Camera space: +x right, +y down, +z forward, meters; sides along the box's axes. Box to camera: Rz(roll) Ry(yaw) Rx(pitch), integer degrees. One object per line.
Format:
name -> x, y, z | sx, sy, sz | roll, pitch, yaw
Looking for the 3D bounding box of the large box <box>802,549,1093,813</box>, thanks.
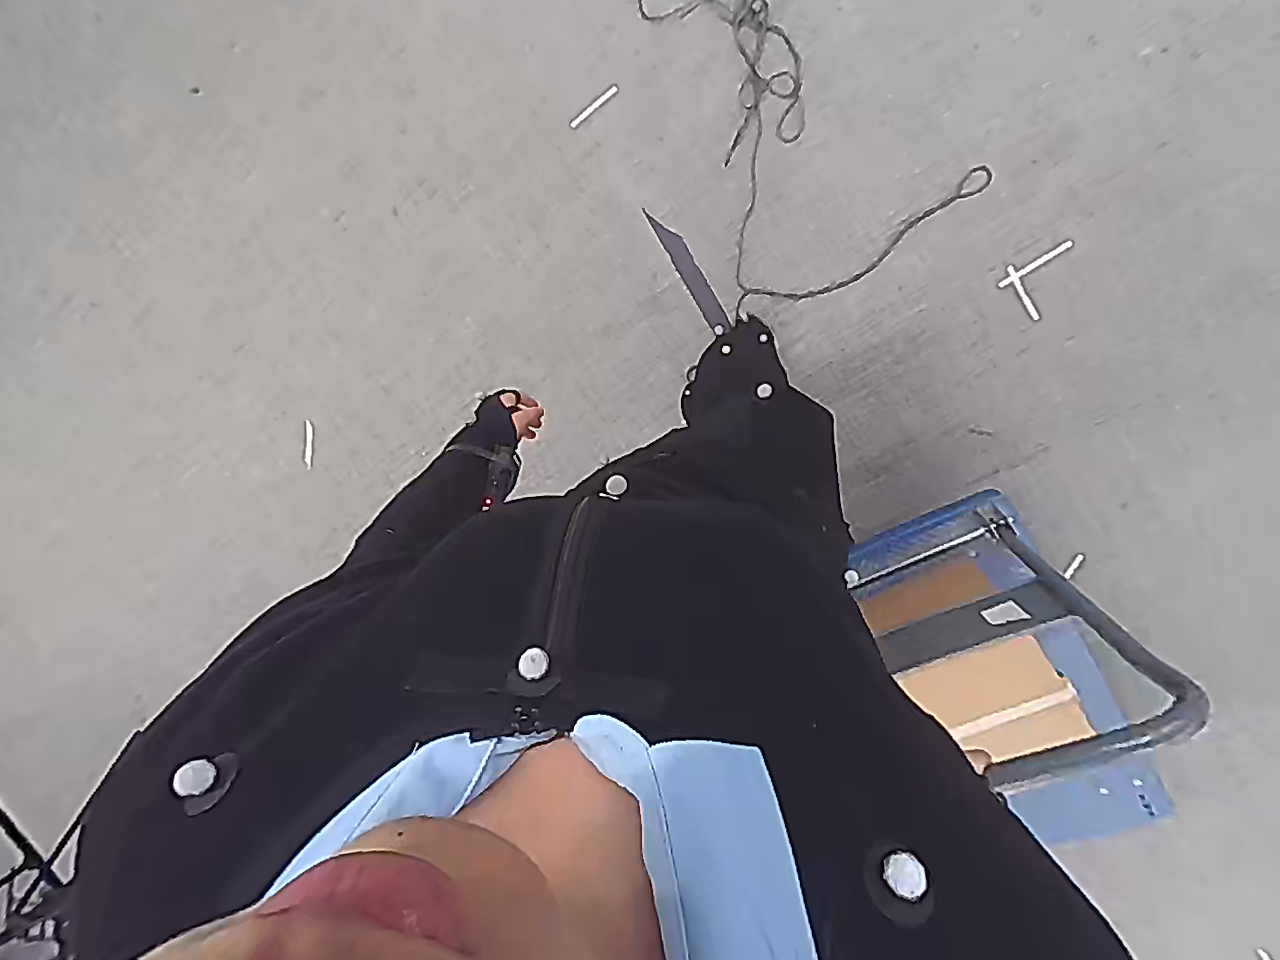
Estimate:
large box -> 0.606, 0.411, 1.156 | 0.408, 0.320, 0.320 | -33, 93, 20
